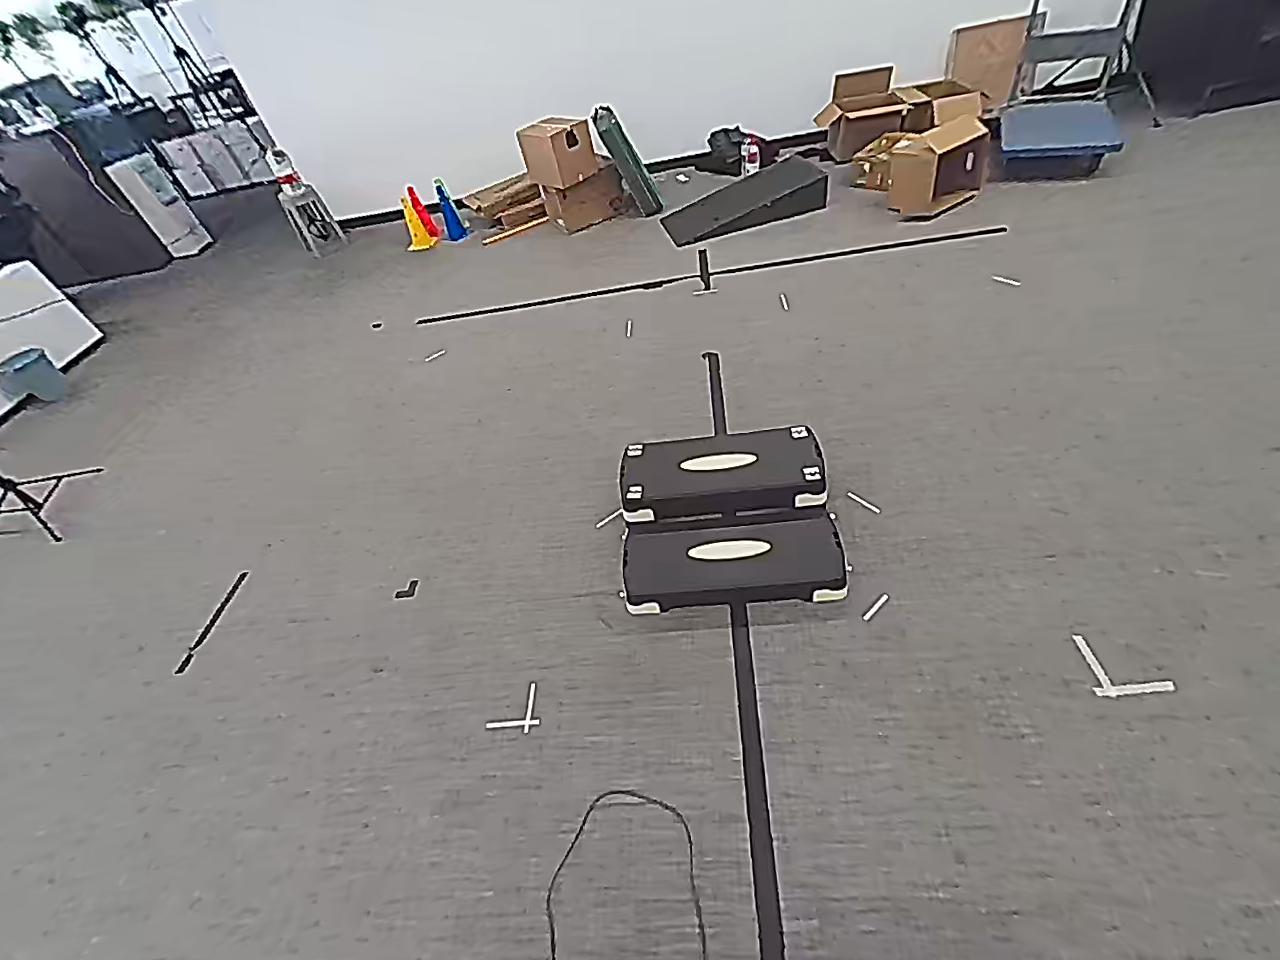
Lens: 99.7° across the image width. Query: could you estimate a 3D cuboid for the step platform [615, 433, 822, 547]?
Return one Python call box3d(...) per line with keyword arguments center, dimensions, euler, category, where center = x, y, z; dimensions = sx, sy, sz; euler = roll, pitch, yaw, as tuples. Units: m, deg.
box3d(center=(0.256, 0.031, 1.833), dimensions=(0.684, 0.204, 0.286), euler=(-6, 46, 7), category="step platform")
